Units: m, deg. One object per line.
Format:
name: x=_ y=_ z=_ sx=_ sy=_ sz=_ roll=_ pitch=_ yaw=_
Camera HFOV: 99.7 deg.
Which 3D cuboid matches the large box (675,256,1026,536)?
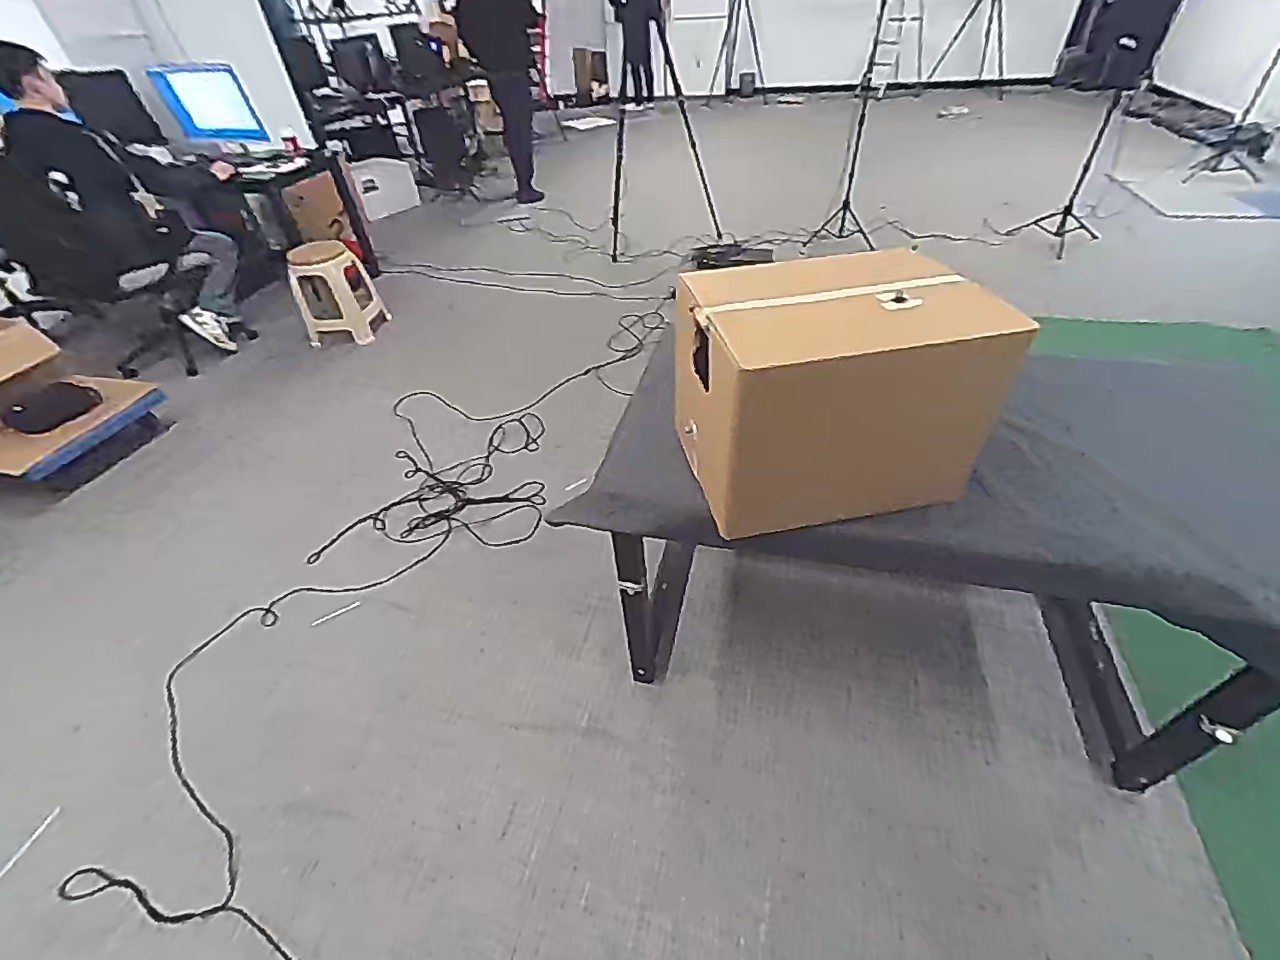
large box: x=0.290 y=-0.146 z=0.889 sx=0.408 sy=0.320 sz=0.320 roll=-9 pitch=43 yaw=-8
